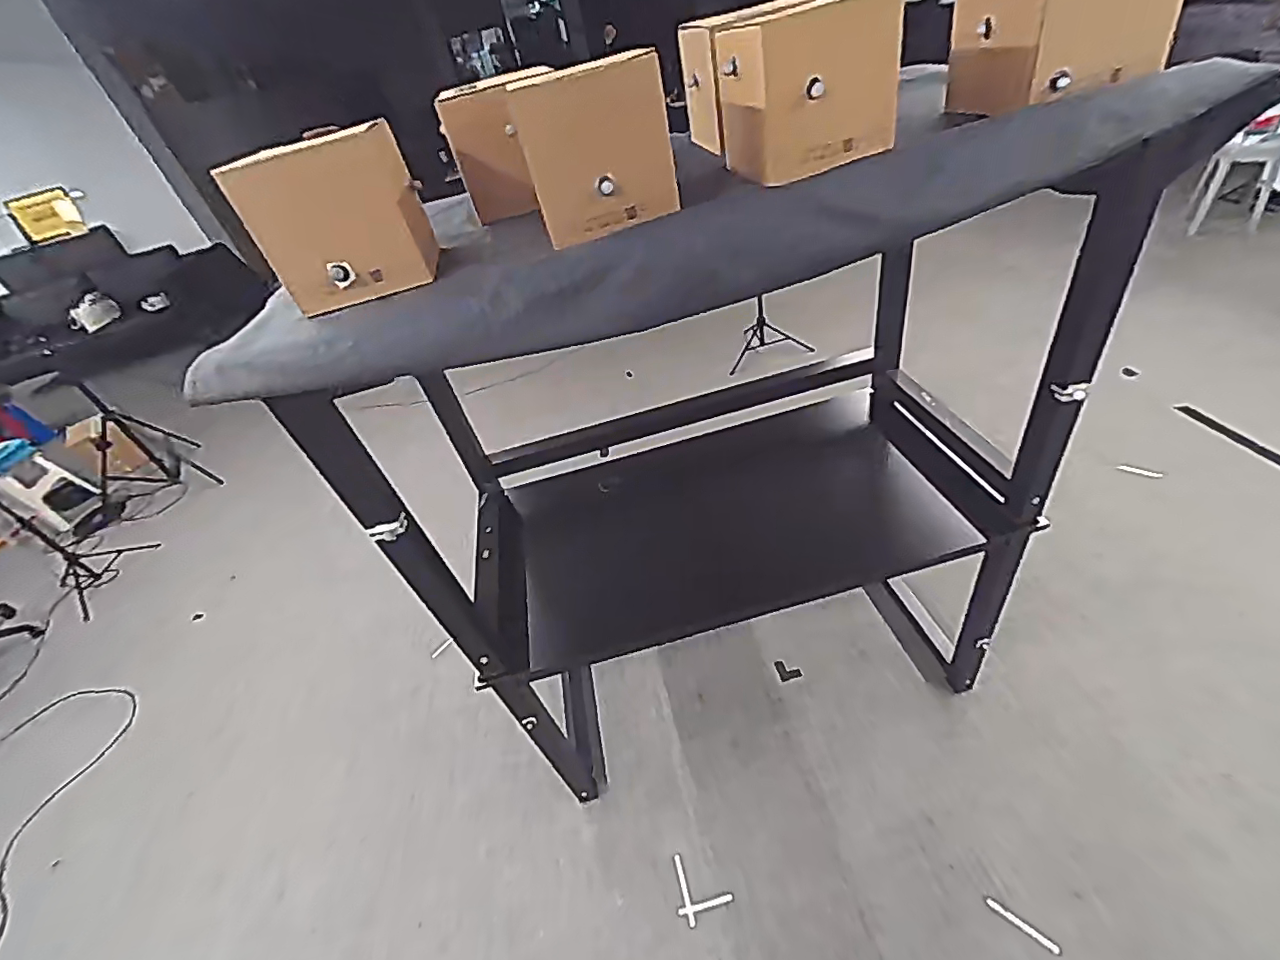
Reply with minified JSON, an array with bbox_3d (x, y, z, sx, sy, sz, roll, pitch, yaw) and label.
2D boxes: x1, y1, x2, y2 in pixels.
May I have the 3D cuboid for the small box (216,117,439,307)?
[{"bbox_3d":[-0.371,-0.340,0.685,0.168,0.176,0.179,-18,38,-3],"label":"small box"}]

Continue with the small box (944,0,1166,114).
[{"bbox_3d":[0.512,-0.575,0.676,0.168,0.176,0.179,-15,36,1],"label":"small box"}]

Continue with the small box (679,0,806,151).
[{"bbox_3d":[0.172,-0.660,0.891,0.168,0.176,0.179,-16,39,-1],"label":"small box"}]

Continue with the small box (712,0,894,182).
[{"bbox_3d":[0.205,-0.501,0.695,0.168,0.176,0.179,-16,38,-1],"label":"small box"}]
